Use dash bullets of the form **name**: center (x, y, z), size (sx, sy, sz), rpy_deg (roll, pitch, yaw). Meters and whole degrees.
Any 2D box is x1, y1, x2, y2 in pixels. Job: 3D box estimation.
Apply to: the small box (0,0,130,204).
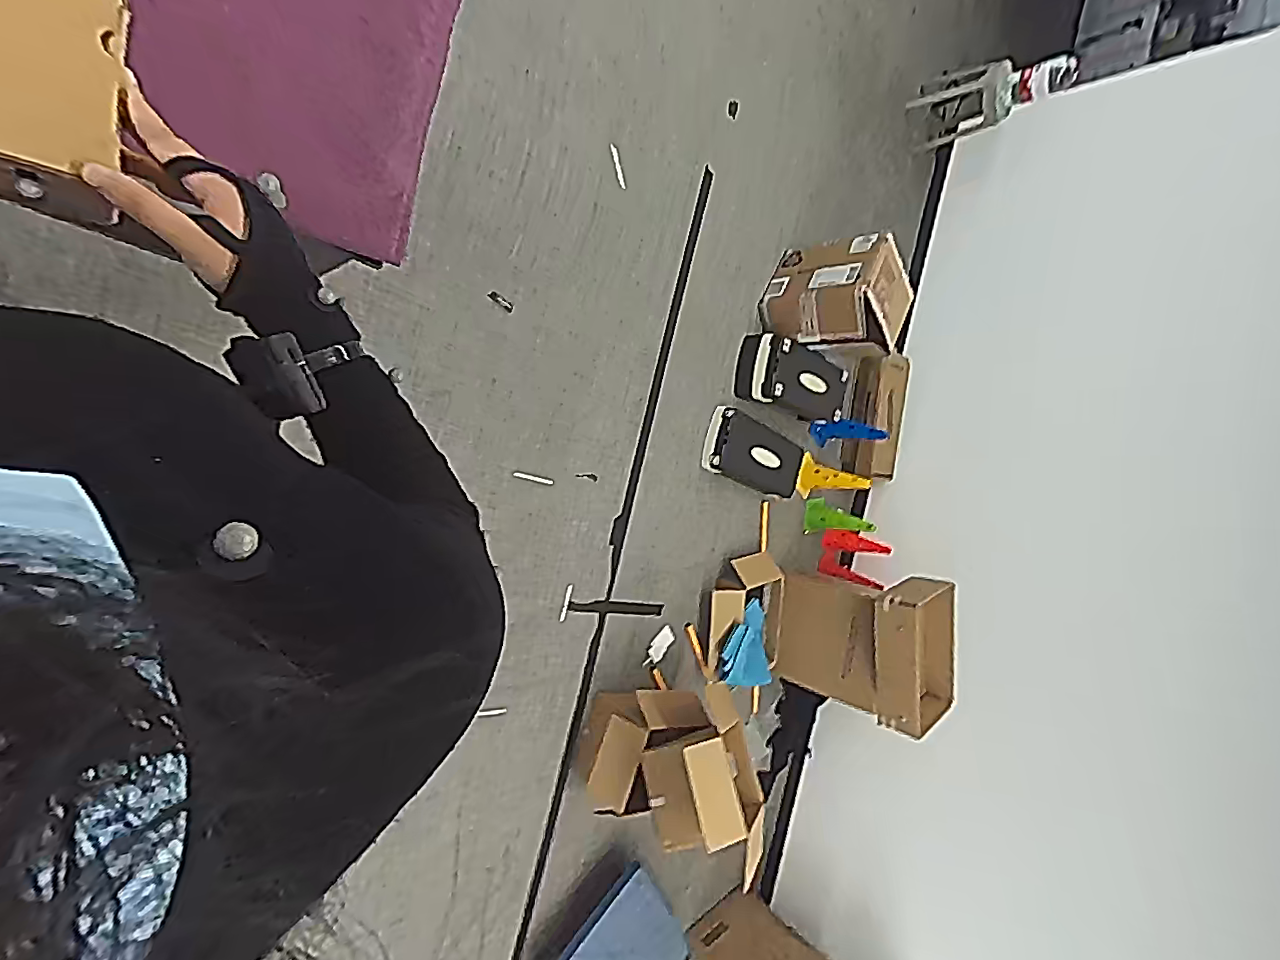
- **small box**: center (-0.428, -0.286, 0.320), size (0.179, 0.176, 0.168), rpy_deg (2, 99, -47)
